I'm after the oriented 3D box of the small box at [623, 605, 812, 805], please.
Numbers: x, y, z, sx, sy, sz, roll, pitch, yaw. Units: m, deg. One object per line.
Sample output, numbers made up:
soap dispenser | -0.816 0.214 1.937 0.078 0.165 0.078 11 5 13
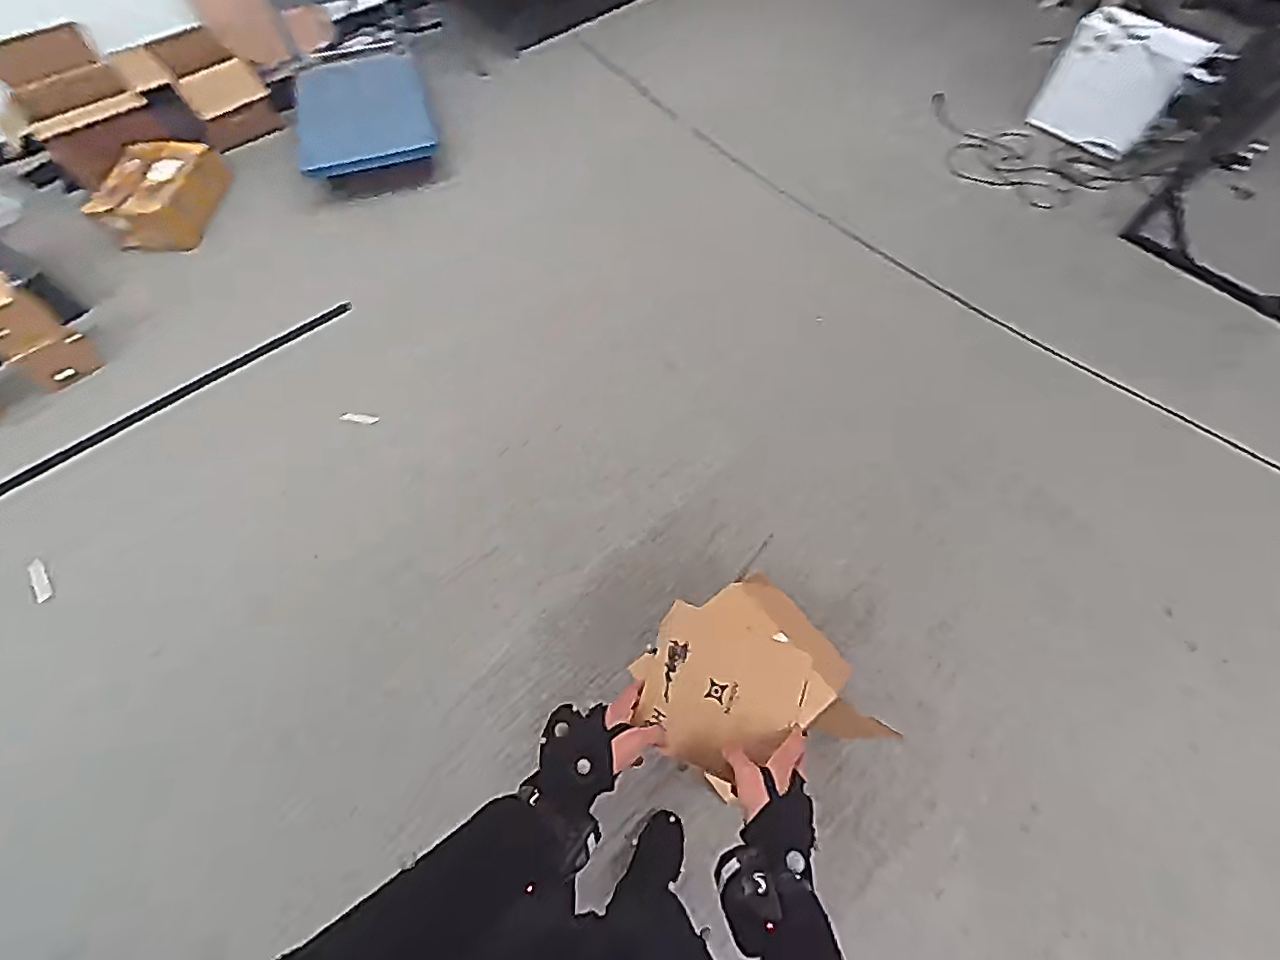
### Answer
small box | 0.088 0.275 0.686 0.179 0.176 0.168 22 70 5
